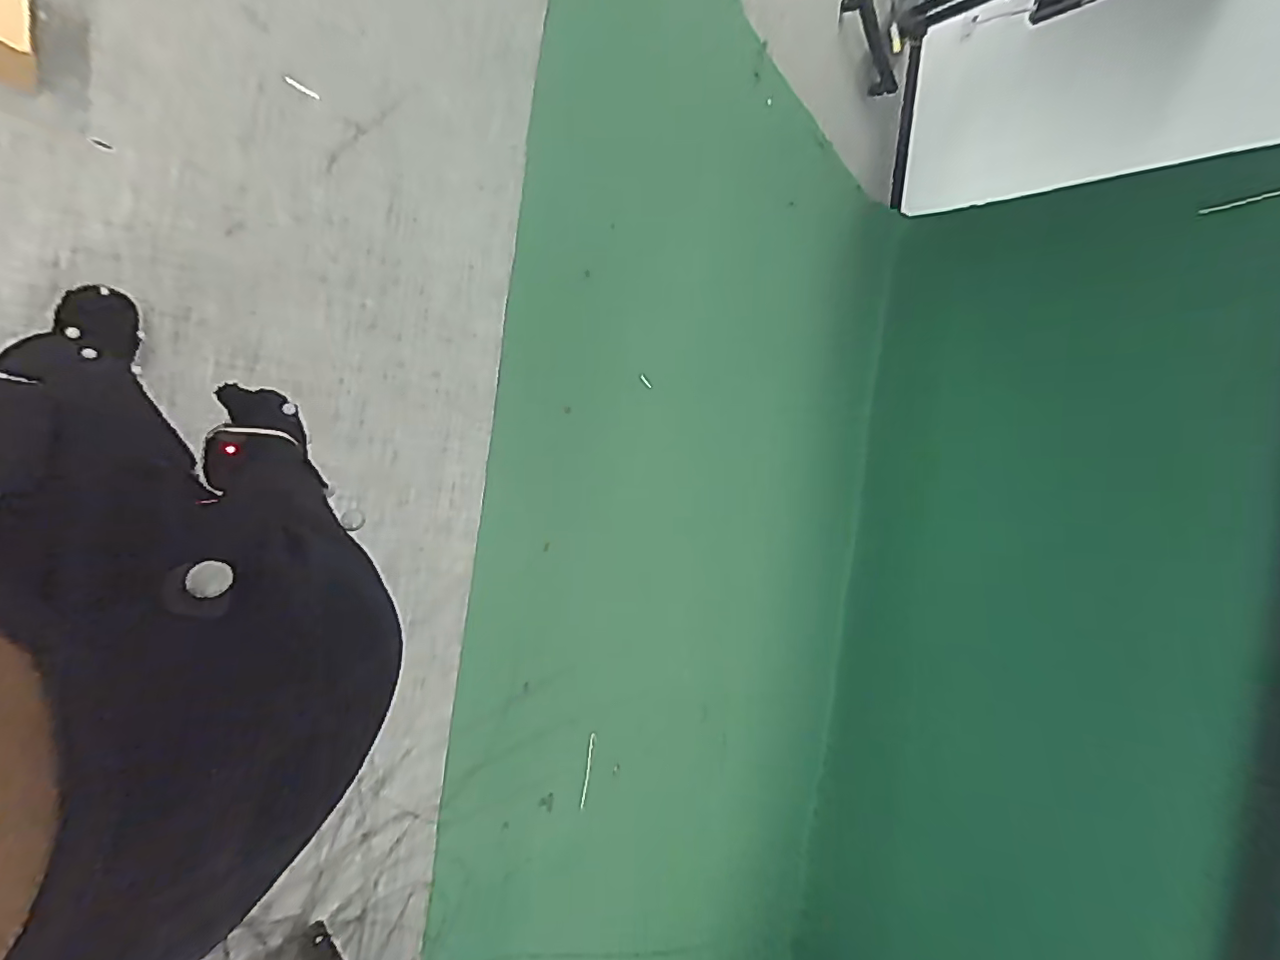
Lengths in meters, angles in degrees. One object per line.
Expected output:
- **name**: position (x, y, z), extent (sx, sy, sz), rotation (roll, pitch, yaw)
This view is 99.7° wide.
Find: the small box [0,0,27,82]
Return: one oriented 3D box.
- **small box**: position (-1.069, -0.768, 0.830), extent (0.168, 0.176, 0.179), rotation (-2, 99, -48)
